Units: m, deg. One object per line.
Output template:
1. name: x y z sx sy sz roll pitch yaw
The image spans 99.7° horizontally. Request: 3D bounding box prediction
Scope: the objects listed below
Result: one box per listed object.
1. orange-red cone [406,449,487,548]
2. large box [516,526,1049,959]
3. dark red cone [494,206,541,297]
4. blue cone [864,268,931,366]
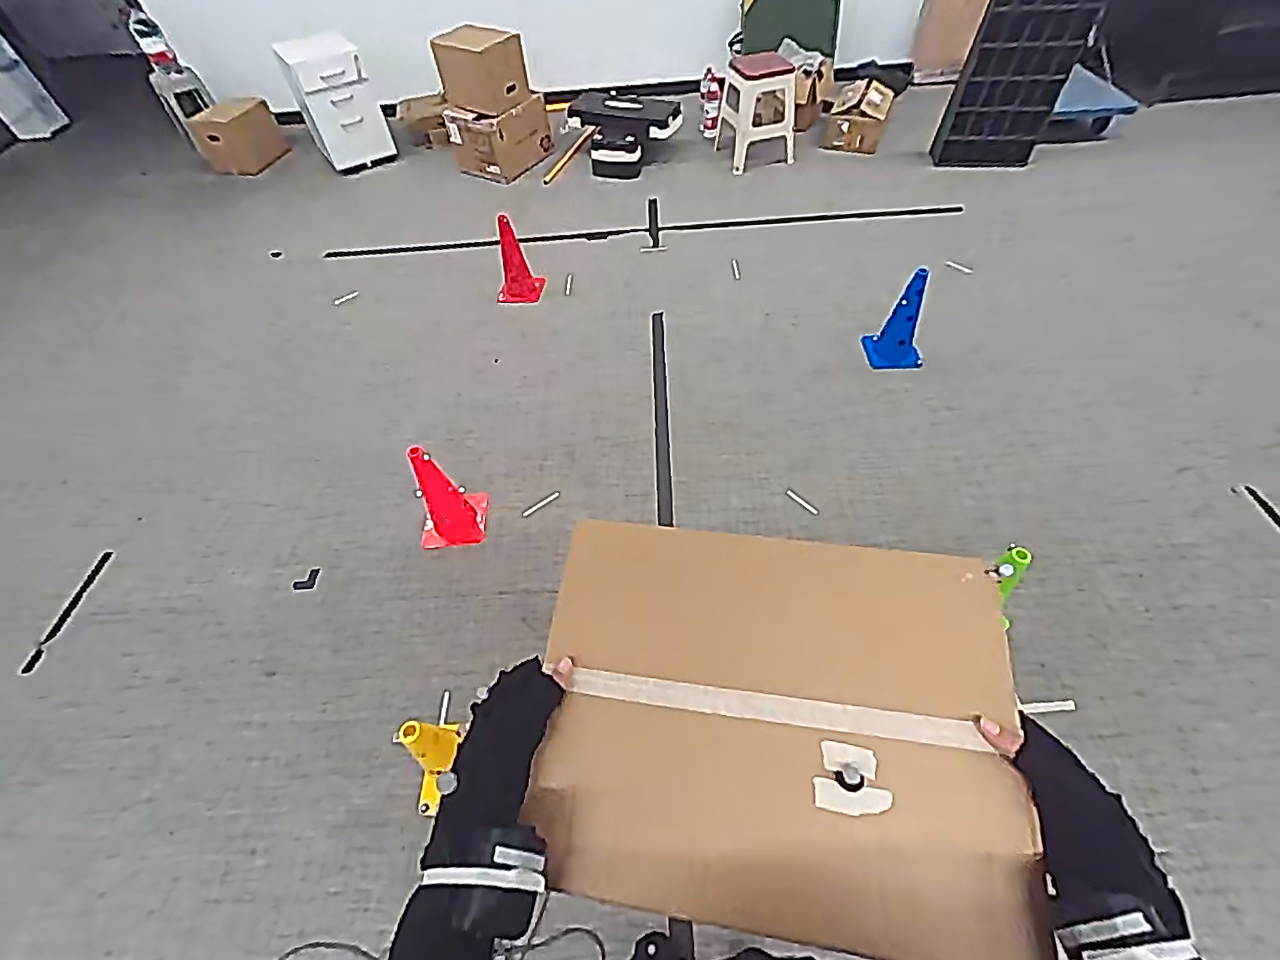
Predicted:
1. orange-red cone: -0.620 0.032 1.648 0.198 0.360 0.199 -6 54 1
2. large box: 0.125 0.267 0.604 0.408 0.320 0.320 5 63 9
3. dark red cone: -0.579 -1.018 2.415 0.201 0.394 0.202 2 53 5
4. blue cone: 1.000 -0.619 2.041 0.192 0.380 0.193 0 53 3
